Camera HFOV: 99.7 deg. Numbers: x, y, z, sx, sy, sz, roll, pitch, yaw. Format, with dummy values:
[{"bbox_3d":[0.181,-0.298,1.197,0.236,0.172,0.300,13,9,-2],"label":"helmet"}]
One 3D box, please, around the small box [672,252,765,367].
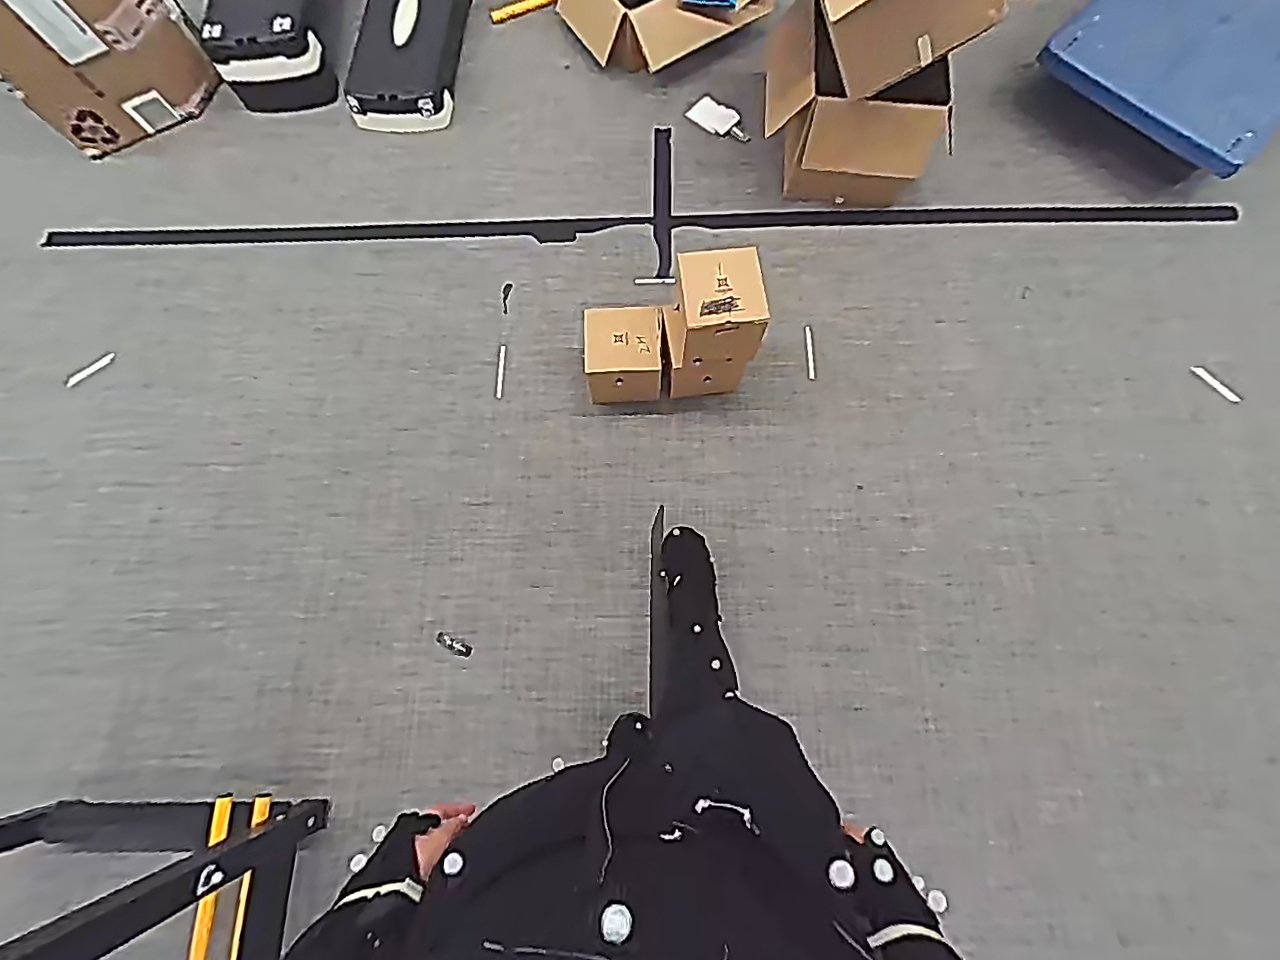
[{"bbox_3d":[0.161,-0.356,1.162,0.168,0.176,0.179,-6,73,-1],"label":"small box"}]
